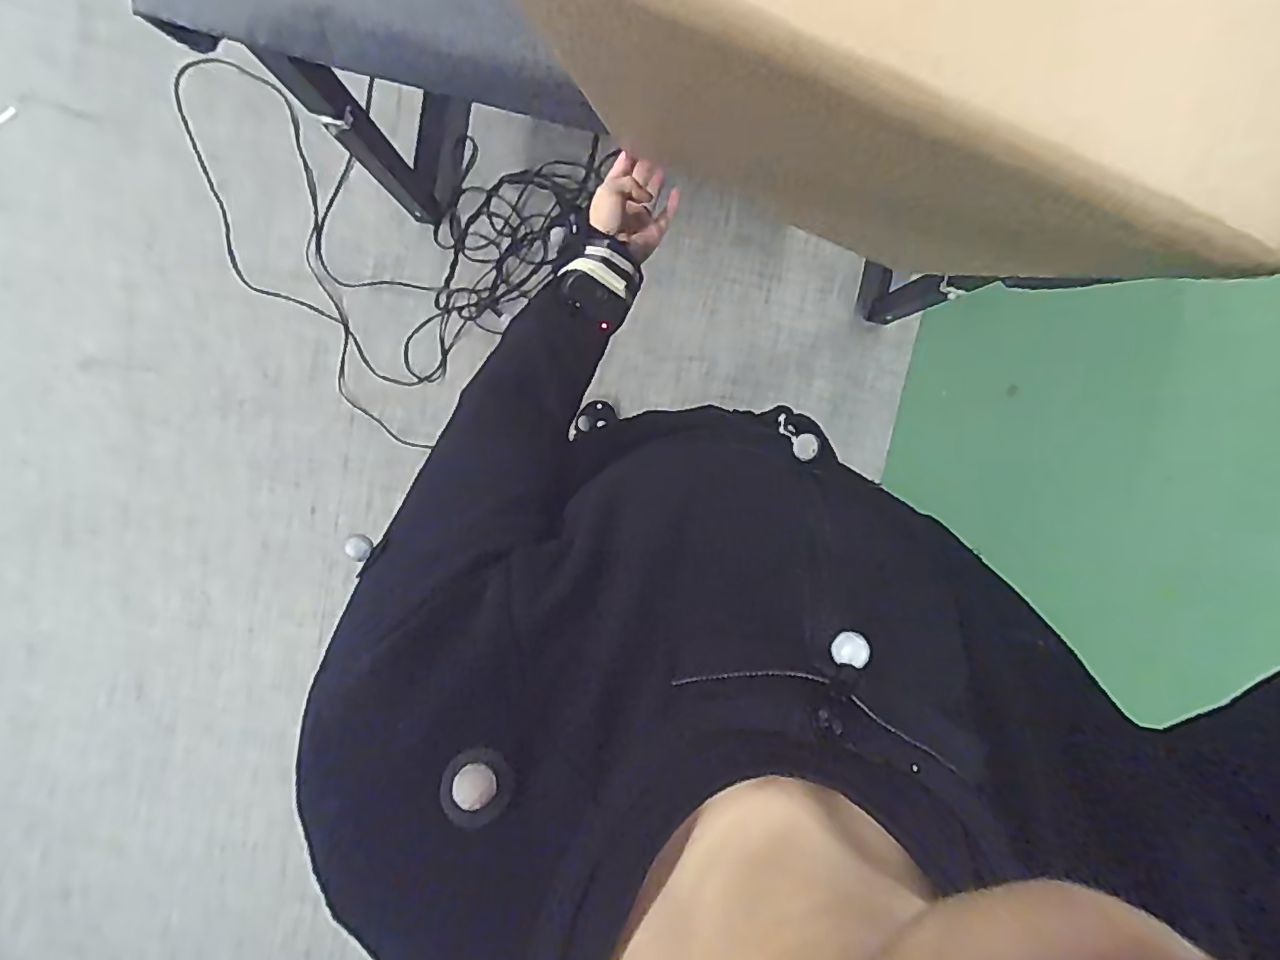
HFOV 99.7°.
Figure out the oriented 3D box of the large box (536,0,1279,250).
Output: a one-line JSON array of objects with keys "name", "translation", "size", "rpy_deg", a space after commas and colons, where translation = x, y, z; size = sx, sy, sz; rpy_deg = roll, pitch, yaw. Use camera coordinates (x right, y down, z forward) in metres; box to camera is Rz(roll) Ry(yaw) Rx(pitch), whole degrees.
[{"name": "large box", "translation": [0.154, -0.345, 0.309], "size": [0.320, 0.408, 0.320], "rpy_deg": [21, 113, -3]}]
